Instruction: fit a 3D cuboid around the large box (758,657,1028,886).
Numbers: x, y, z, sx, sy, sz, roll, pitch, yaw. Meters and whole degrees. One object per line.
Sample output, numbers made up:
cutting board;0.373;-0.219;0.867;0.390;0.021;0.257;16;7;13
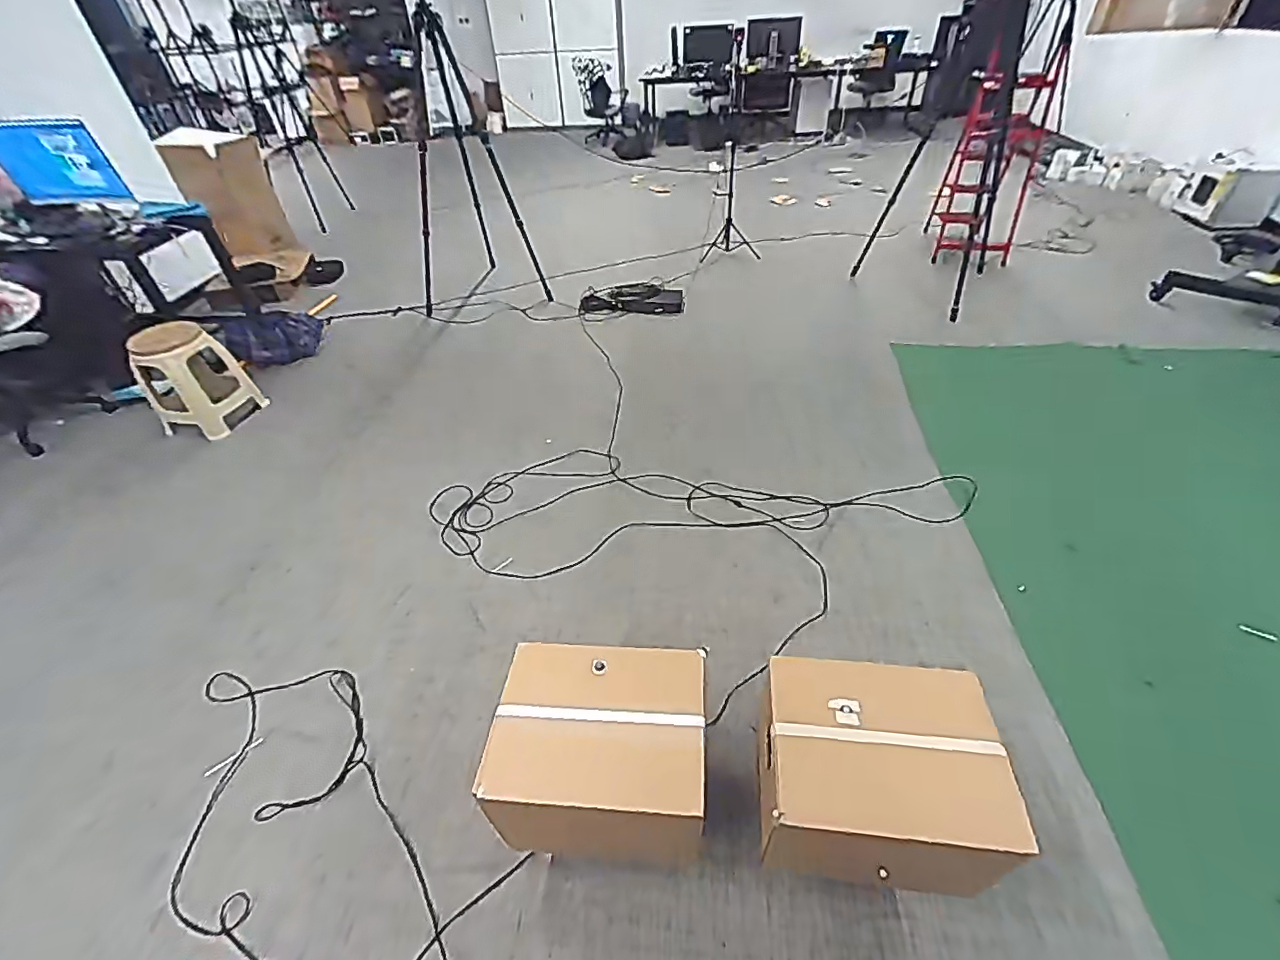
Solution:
large box;0.459;0.590;1.101;0.408;0.320;0.320;2;42;8
